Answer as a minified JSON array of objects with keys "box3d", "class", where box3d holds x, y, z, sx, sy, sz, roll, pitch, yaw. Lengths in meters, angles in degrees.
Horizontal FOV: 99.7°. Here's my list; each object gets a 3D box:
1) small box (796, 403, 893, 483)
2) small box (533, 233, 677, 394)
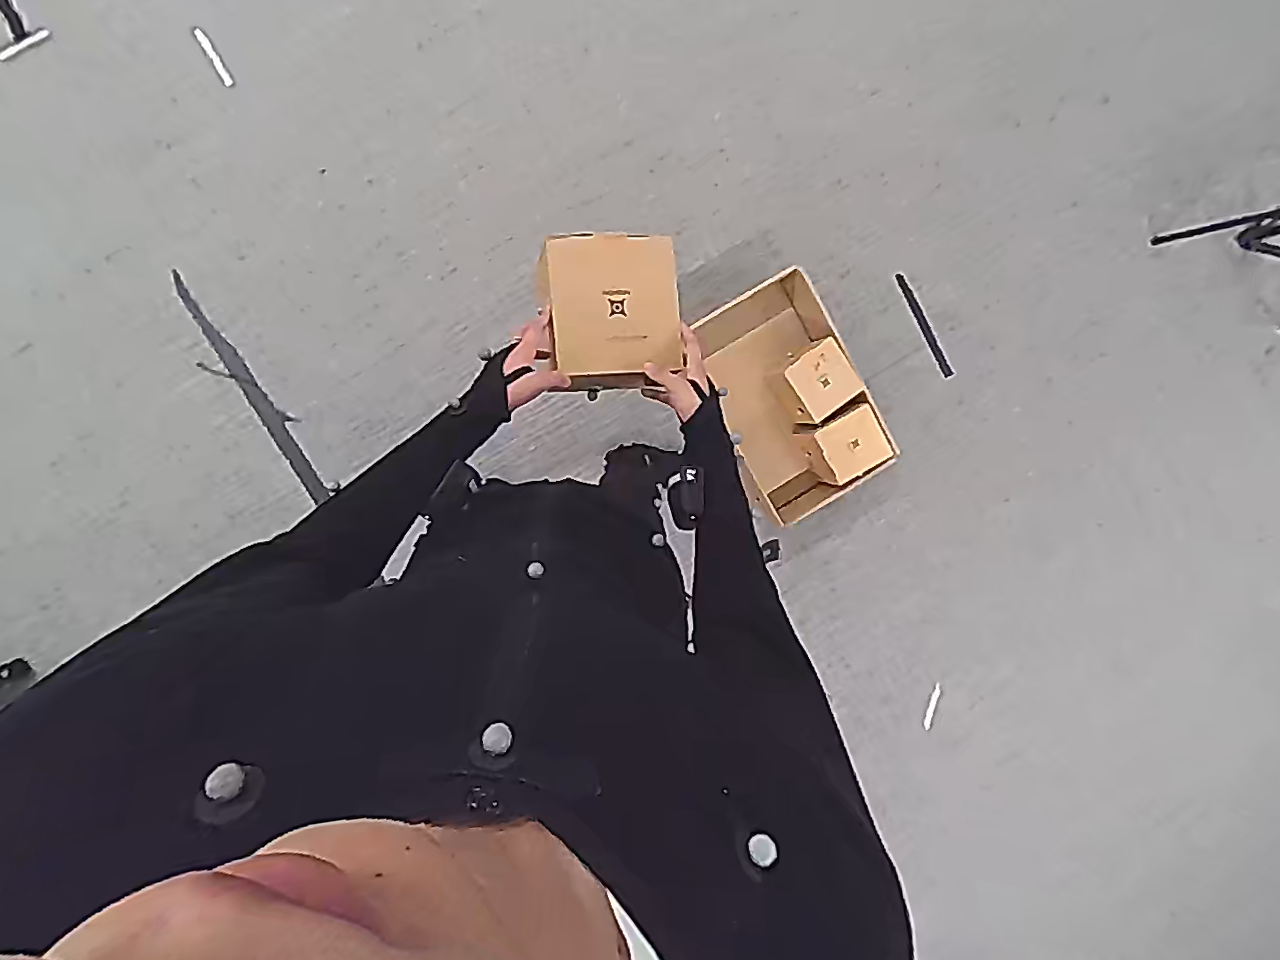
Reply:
[{"box3d":[0.583,-0.110,1.561,0.179,0.176,0.168,-30,97,0],"class":"small box"},{"box3d":[-0.056,-0.221,0.755,0.168,0.176,0.179,-5,93,-15],"class":"small box"}]
